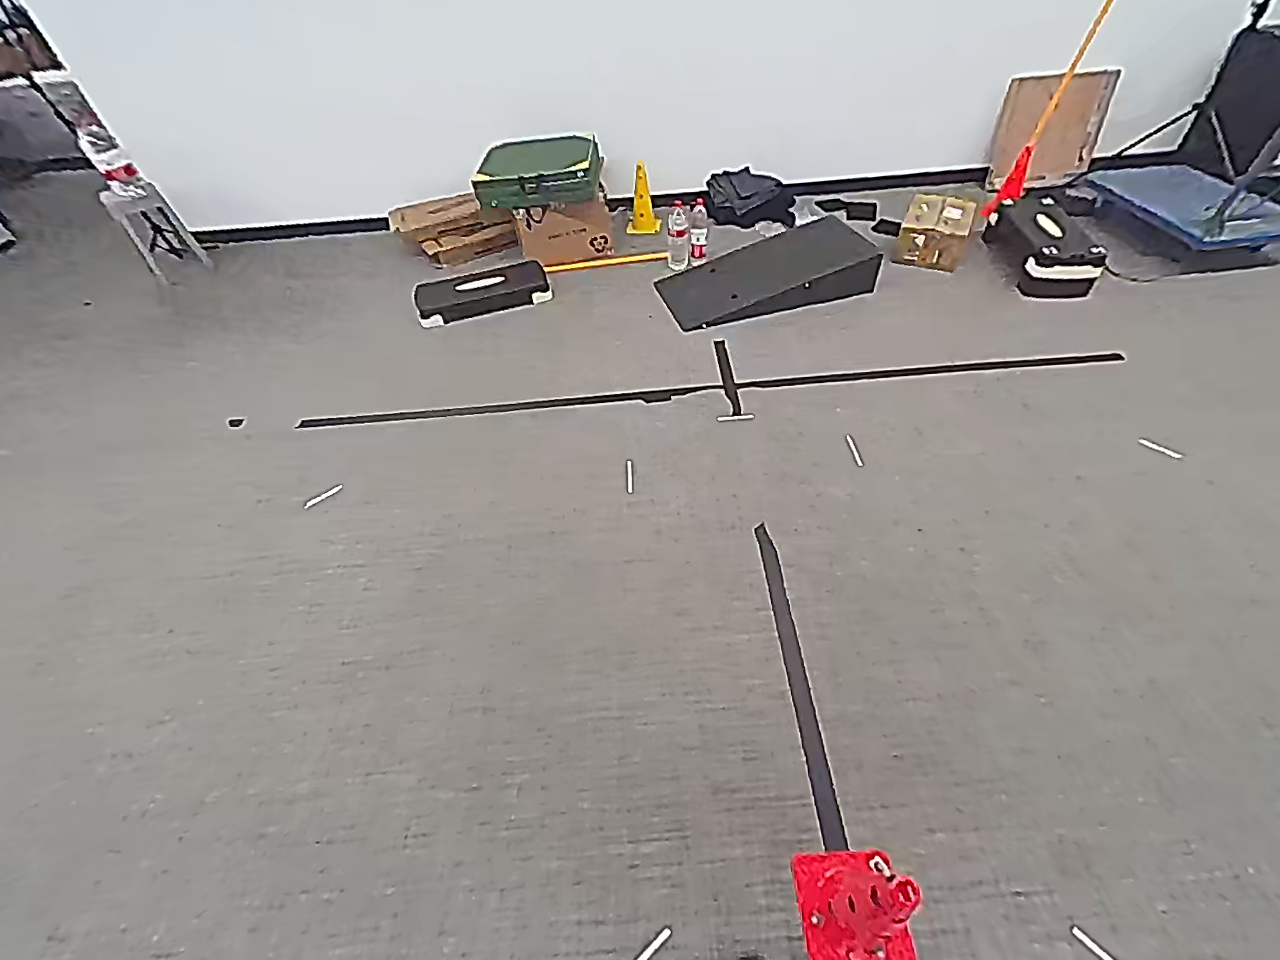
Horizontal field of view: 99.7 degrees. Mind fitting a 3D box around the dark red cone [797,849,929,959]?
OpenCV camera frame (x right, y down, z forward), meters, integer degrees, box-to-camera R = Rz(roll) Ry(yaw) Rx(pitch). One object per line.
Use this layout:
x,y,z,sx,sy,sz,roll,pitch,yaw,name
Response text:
0.403,0.715,0.907,0.201,0.394,0.202,-5,47,1,dark red cone
